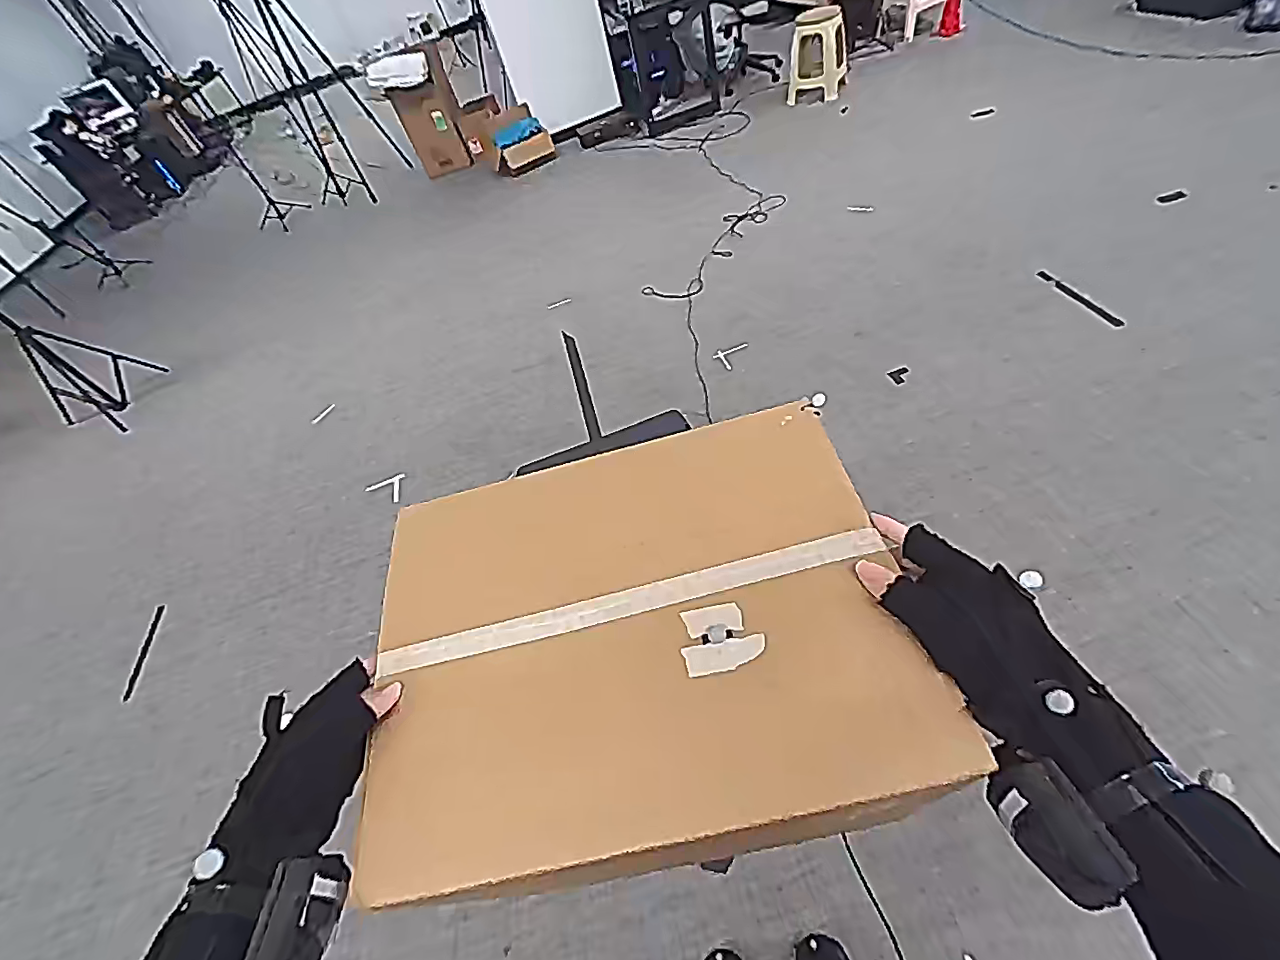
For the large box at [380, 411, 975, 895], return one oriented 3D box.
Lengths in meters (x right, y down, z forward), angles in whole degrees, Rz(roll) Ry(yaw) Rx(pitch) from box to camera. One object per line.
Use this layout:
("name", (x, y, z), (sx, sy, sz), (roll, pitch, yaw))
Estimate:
("large box", (0.022, 0.188, 0.551), (0.408, 0.320, 0.320), (-15, 53, 3))
